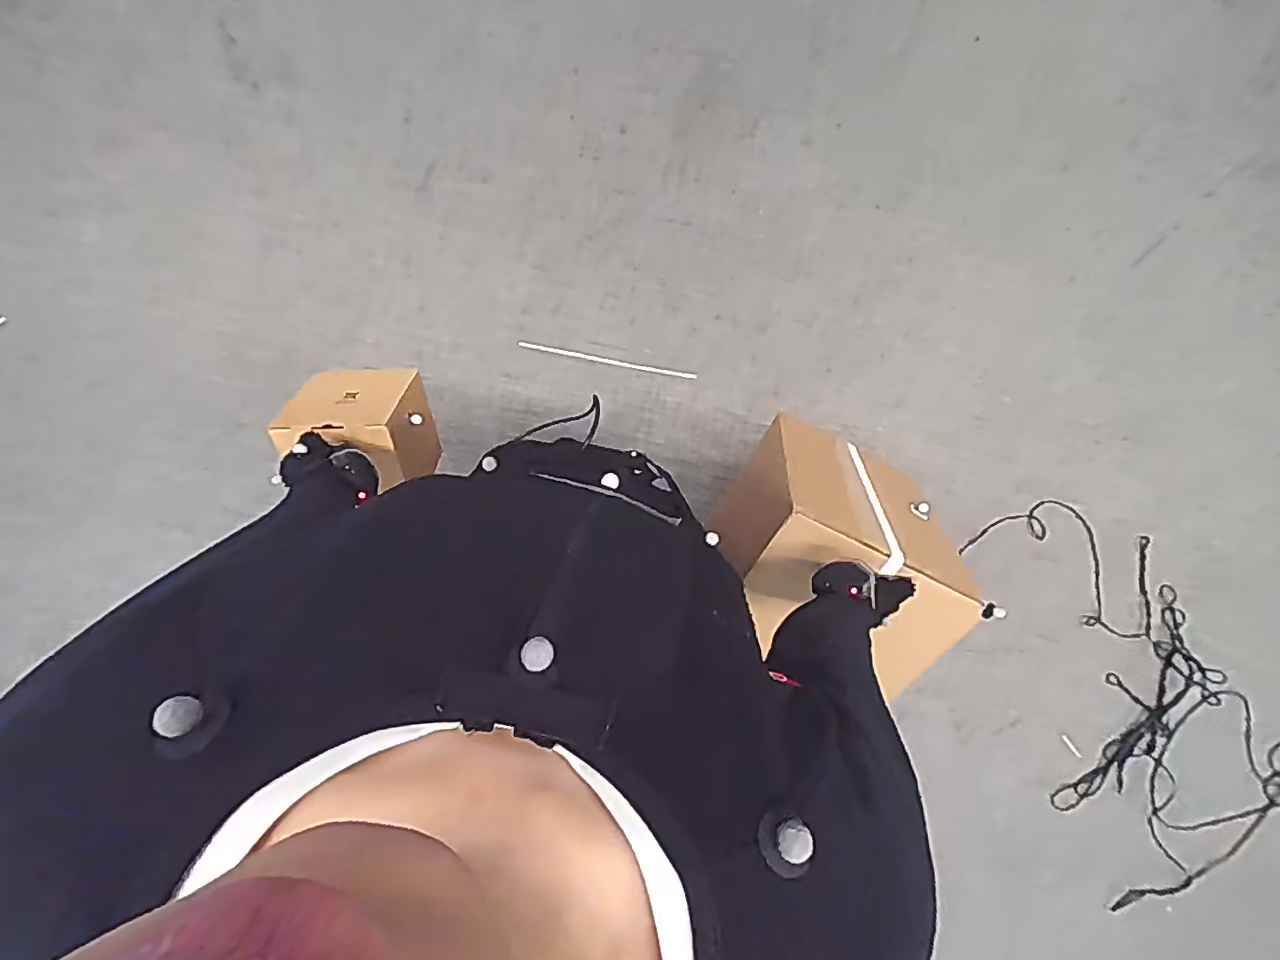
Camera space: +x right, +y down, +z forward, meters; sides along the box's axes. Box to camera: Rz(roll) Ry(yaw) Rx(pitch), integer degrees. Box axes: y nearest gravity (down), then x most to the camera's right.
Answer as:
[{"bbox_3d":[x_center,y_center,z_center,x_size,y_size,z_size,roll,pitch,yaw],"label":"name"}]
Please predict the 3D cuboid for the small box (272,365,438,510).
[{"bbox_3d":[-0.441,-0.071,0.875,0.168,0.179,0.176,-3,129,-2],"label":"small box"}]
